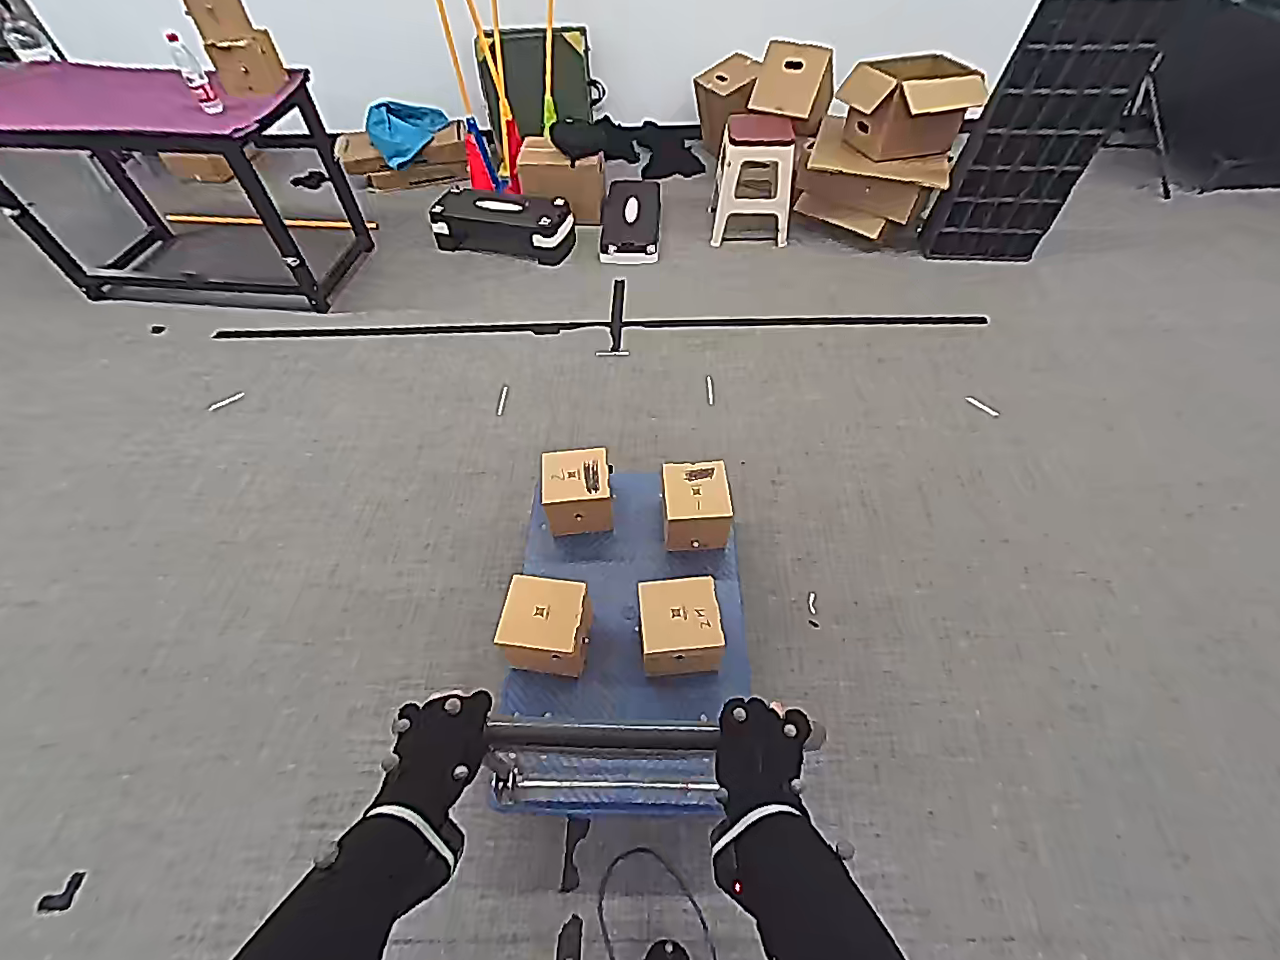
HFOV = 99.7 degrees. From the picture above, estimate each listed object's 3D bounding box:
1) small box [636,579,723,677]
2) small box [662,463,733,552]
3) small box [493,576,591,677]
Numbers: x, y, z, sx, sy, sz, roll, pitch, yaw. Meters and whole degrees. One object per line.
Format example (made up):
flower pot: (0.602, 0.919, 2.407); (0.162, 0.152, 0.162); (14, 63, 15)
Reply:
small box: (0.087, 0.344, 1.244); (0.179, 0.176, 0.168); (-4, 54, -2)
small box: (0.146, 0.075, 1.439); (0.168, 0.176, 0.179); (-3, 55, -1)
small box: (-0.218, 0.343, 1.251); (0.179, 0.176, 0.168); (7, 54, 4)
